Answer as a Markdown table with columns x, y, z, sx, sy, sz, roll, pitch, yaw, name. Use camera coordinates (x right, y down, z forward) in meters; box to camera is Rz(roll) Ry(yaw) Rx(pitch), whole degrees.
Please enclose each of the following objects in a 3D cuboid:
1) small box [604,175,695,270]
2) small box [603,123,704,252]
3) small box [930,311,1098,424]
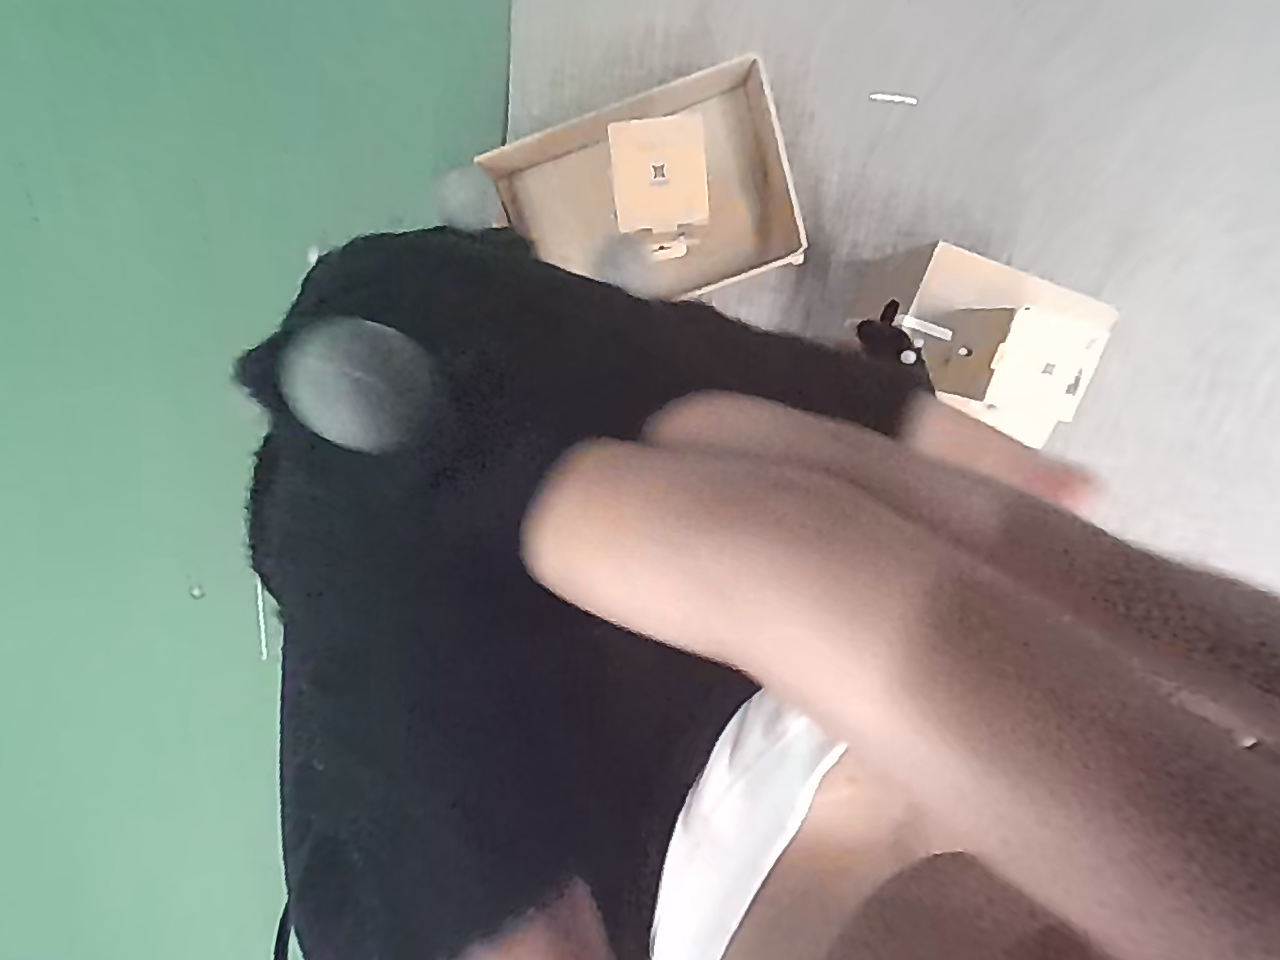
| x | y | z | sx | sy | sz | roll | pitch | yaw | name |
| --- | --- | --- | --- | --- | --- | --- | --- | --- | --- |
| 0.022 | -0.569 | 1.187 | 0.168 | 0.176 | 0.179 | -10 | 104 | 3 | small box |
| 0.025 | -0.541 | 1.028 | 0.168 | 0.176 | 0.179 | -7 | 103 | 1 | small box |
| 0.692 | -0.215 | 1.027 | 0.179 | 0.176 | 0.168 | 12 | 106 | -4 | small box |
